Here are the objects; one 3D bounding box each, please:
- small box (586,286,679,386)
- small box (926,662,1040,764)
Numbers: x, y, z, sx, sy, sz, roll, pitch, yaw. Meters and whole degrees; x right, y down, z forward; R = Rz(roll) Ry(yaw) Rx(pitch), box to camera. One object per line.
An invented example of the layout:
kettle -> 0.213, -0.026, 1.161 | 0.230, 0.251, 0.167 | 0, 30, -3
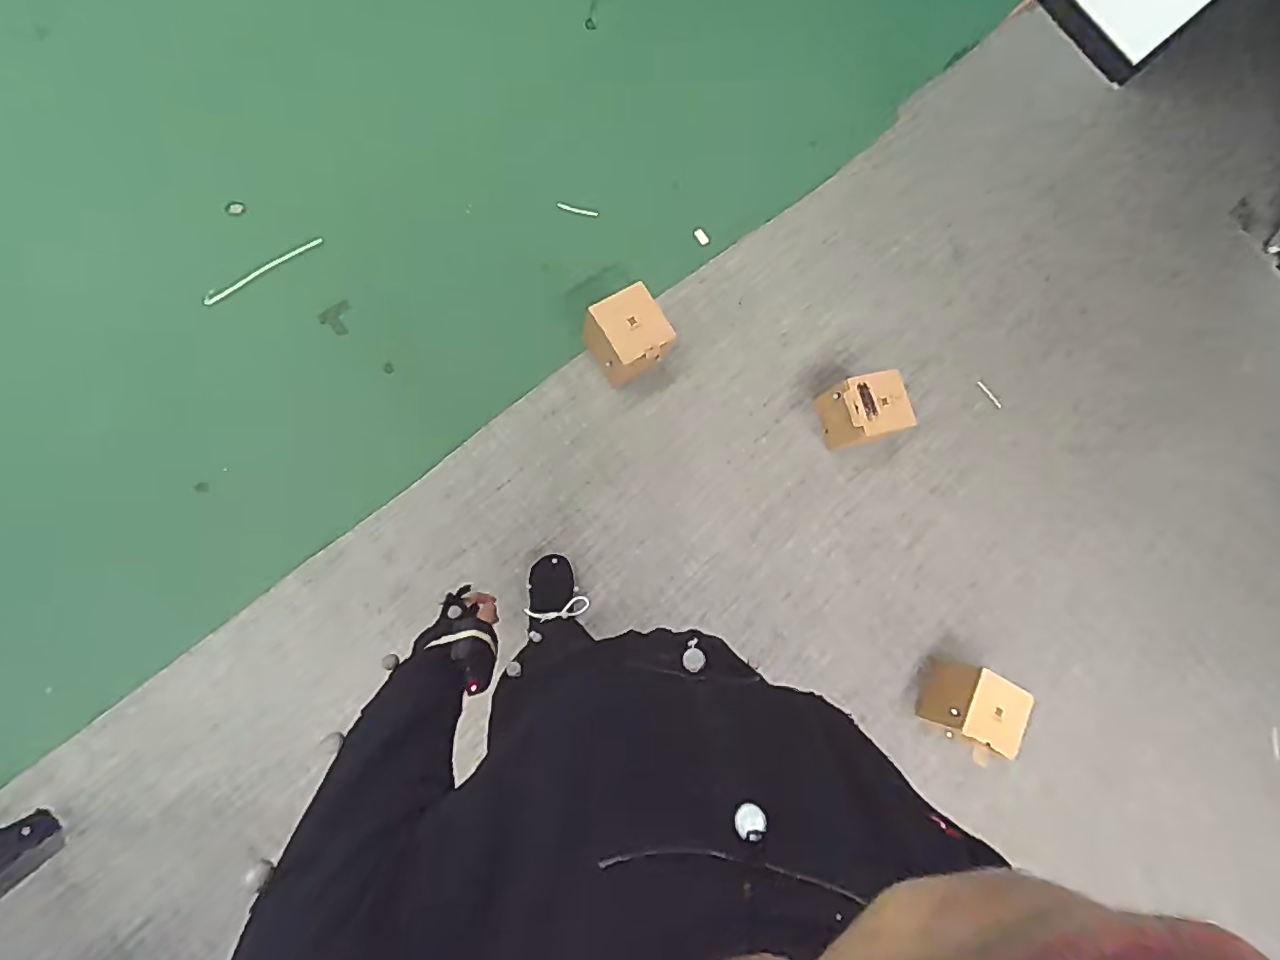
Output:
small box -> -0.027, -0.369, 1.427 | 0.168, 0.176, 0.179 | -33, 86, -16
small box -> 0.894, 0.601, 1.424 | 0.168, 0.176, 0.179 | 30, 76, -4
